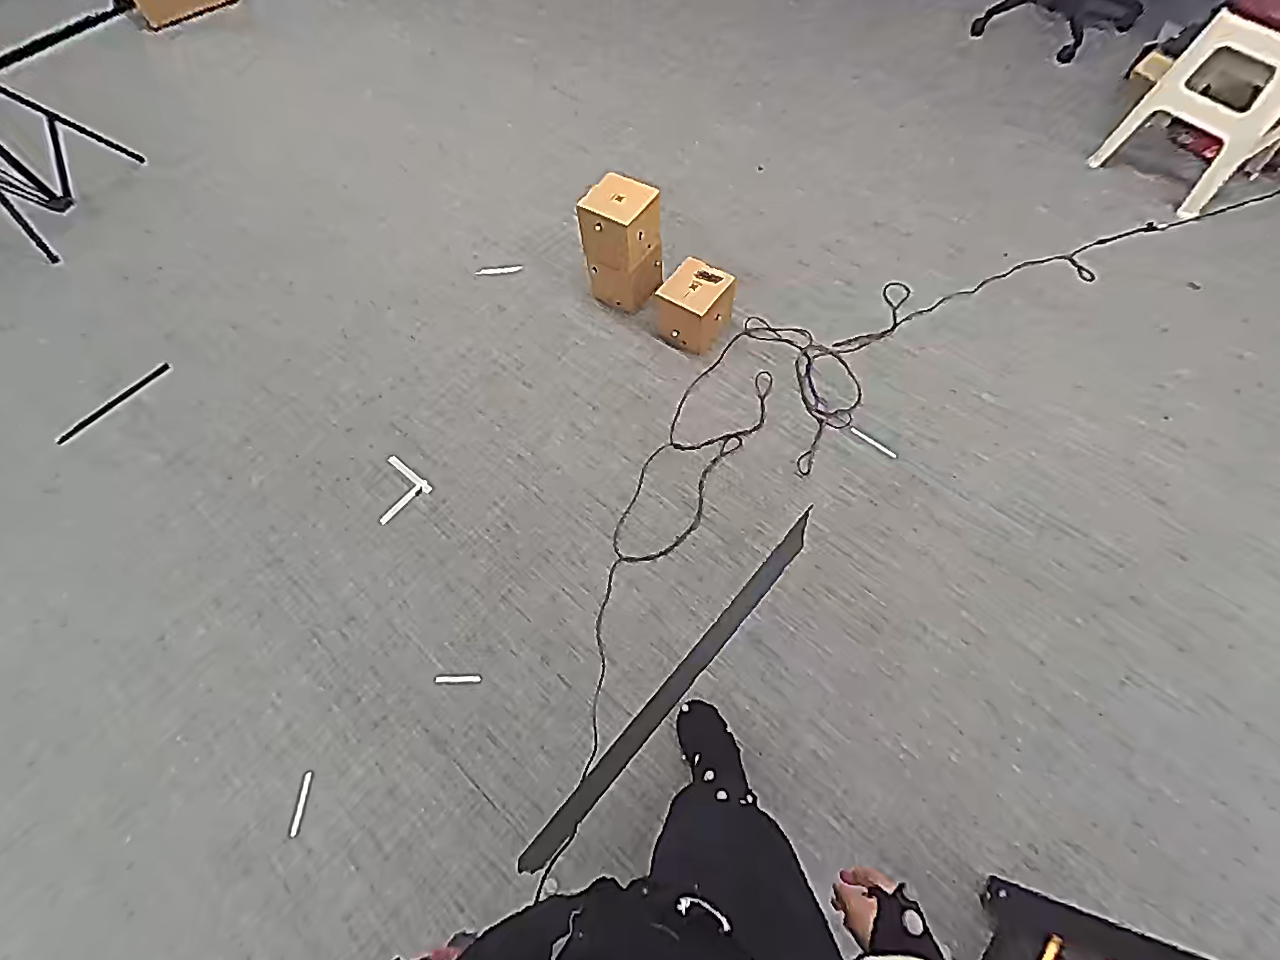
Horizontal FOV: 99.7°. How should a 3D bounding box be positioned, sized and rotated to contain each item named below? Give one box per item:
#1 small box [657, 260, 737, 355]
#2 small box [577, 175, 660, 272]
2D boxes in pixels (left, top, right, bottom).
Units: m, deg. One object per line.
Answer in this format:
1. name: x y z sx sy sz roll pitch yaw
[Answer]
1. small box: 0.166 -0.510 1.608 0.168 0.176 0.179 33 70 19
2. small box: -0.054 -0.729 1.552 0.179 0.176 0.168 29 69 17
